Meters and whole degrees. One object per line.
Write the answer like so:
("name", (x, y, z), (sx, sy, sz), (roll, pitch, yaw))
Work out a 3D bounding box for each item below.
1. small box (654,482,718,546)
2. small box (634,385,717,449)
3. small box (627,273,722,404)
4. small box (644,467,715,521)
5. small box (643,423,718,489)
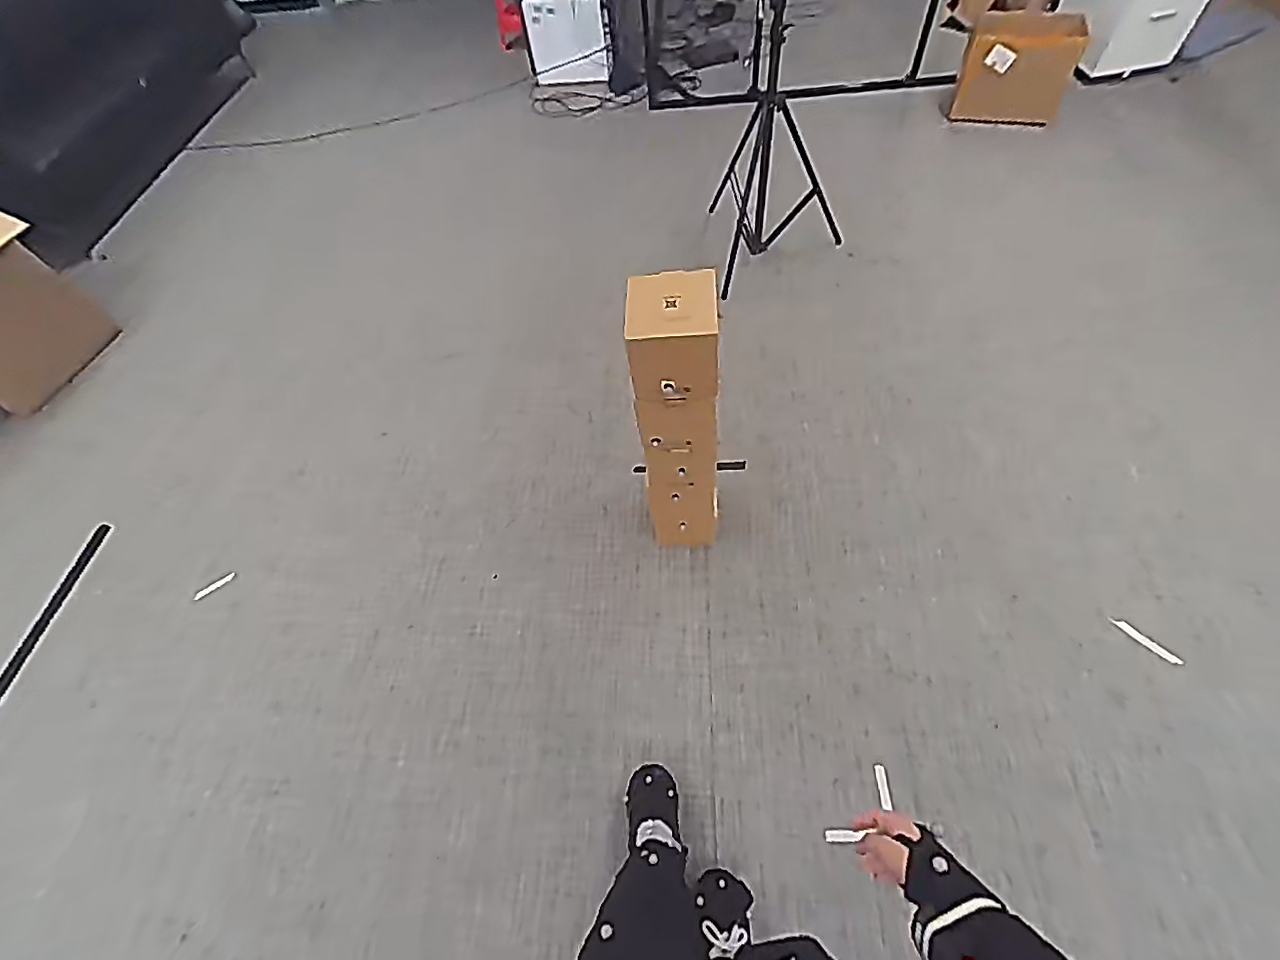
("small box", (0.135, 0.086, 1.583), (0.179, 0.176, 0.168), (-1, 58, 6))
("small box", (0.083, -0.179, 1.171), (0.168, 0.176, 0.179), (0, 57, 7))
("small box", (0.069, -0.266, 1.035), (0.168, 0.176, 0.179), (-2, 58, 7))
("small box", (0.111, 0.001, 1.444), (0.179, 0.176, 0.168), (1, 59, 8))
("small box", (0.104, -0.089, 1.308), (0.168, 0.176, 0.179), (0, 59, 8))
